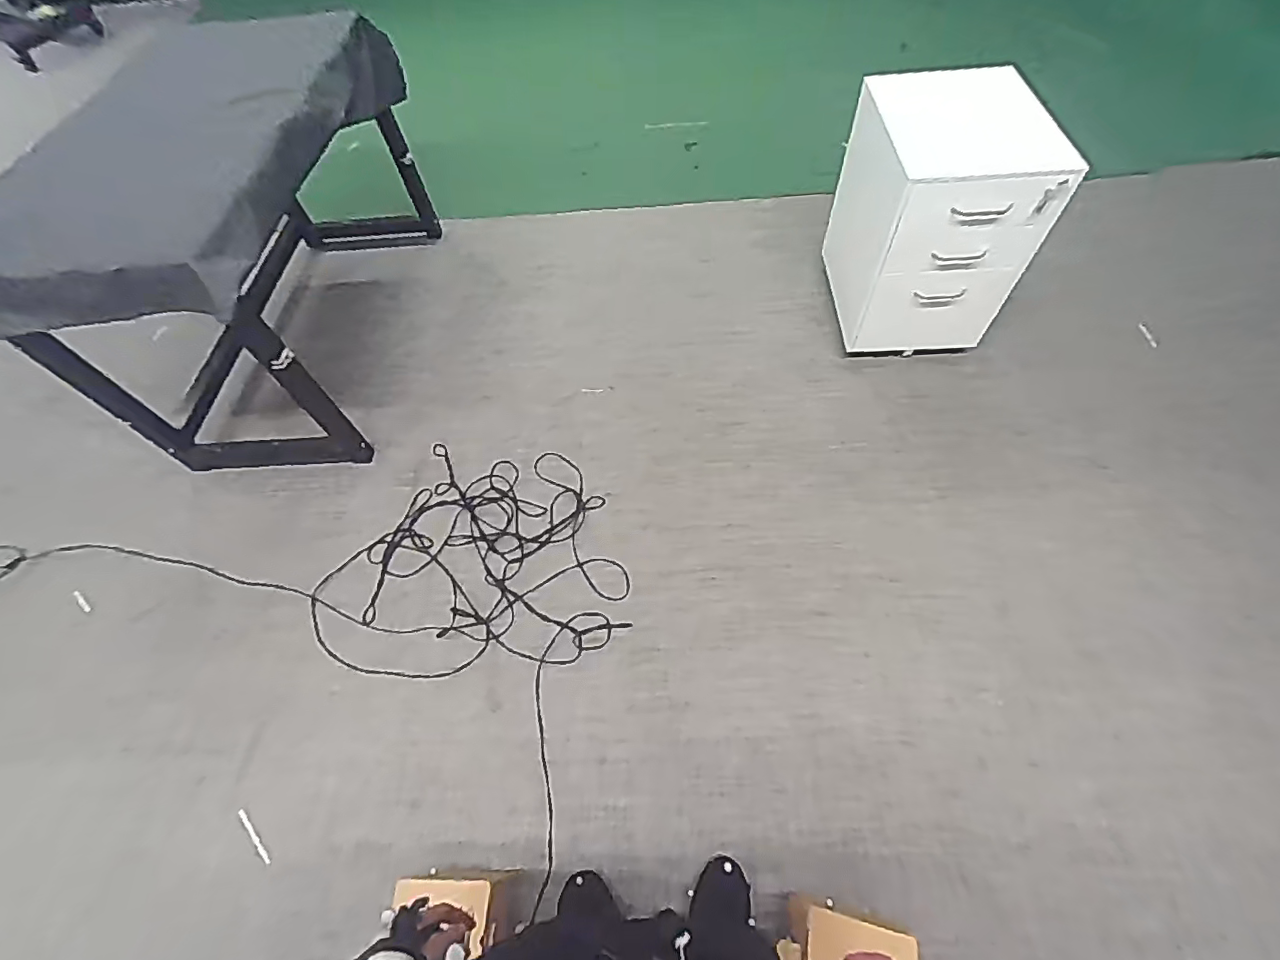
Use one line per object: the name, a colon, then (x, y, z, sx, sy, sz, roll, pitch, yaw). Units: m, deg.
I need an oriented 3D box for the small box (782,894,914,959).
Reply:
small box: (0.350, 0.842, 0.930, 0.179, 0.176, 0.168, 10, 61, 10)
